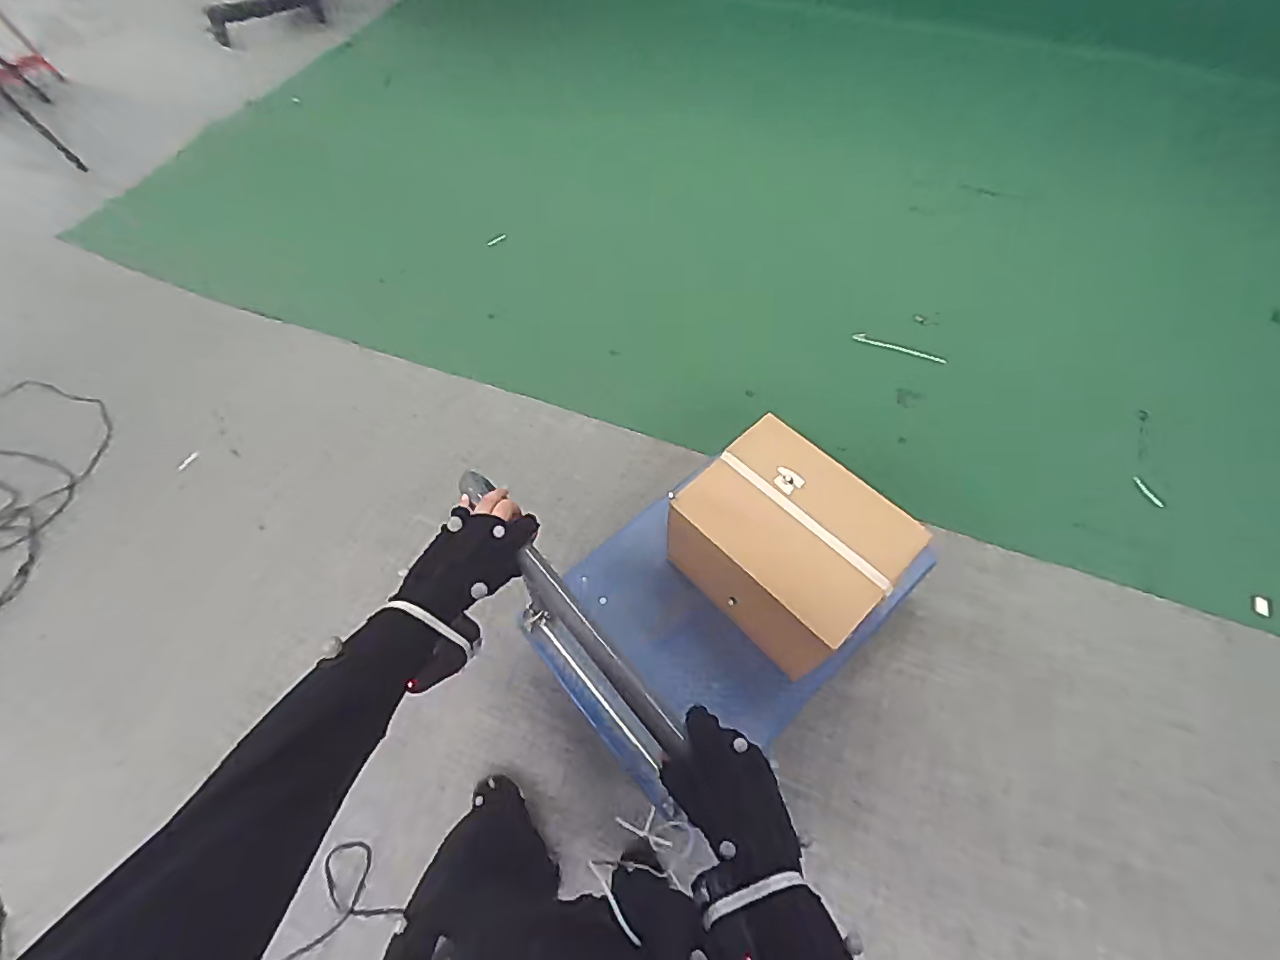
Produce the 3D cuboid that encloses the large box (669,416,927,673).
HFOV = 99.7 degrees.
[{"bbox_3d":[0.311,0.145,1.181,0.320,0.320,0.408,-40,66,-20],"label":"large box"}]
